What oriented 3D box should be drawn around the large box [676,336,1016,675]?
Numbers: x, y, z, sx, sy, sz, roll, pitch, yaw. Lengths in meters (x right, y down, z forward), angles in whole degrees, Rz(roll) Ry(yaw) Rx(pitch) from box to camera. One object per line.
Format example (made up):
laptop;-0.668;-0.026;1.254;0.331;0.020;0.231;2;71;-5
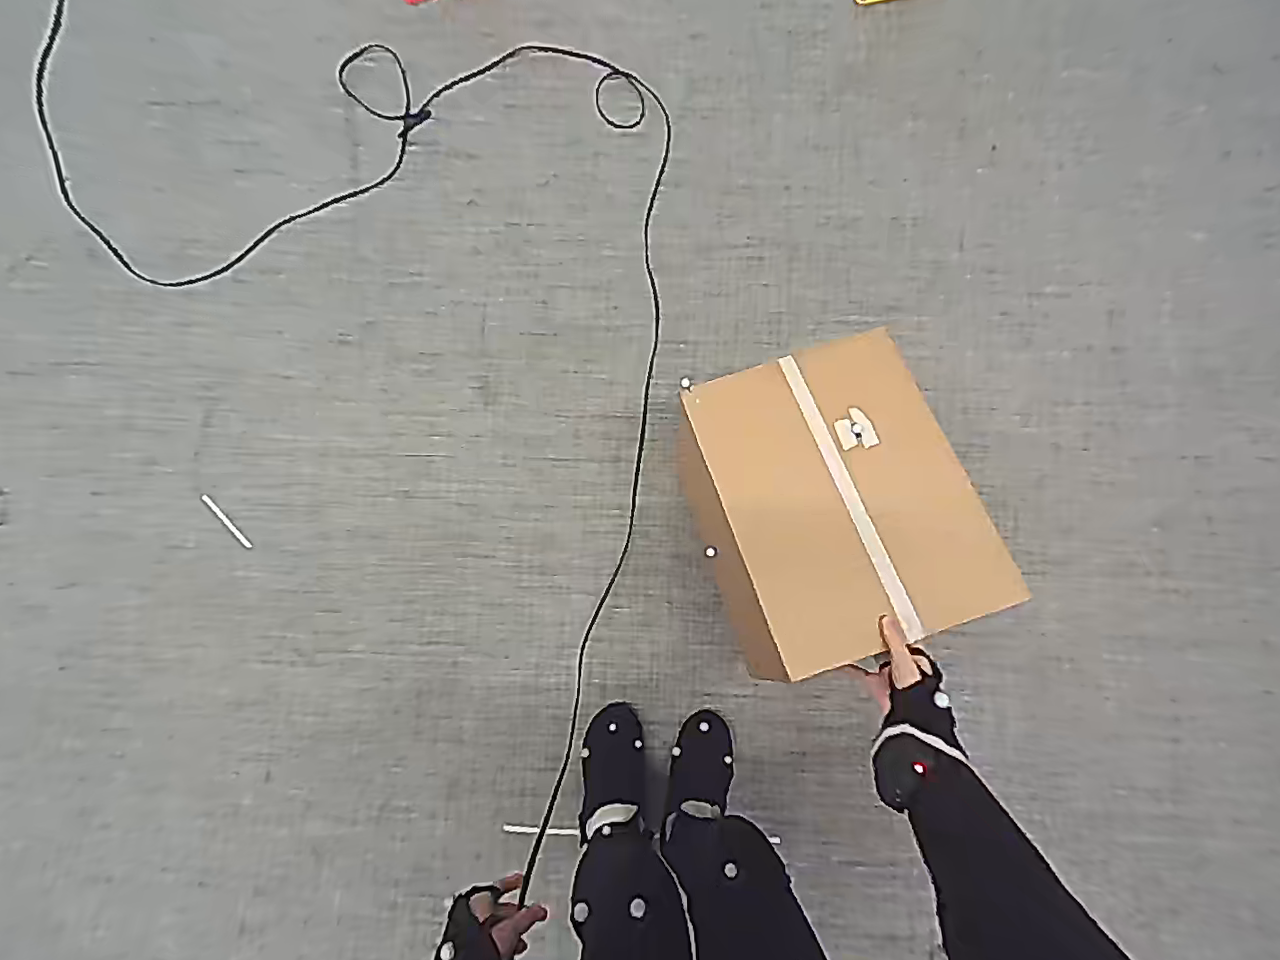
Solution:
large box;0.266;0.059;0.856;0.320;0.320;0.408;-17;71;-4
